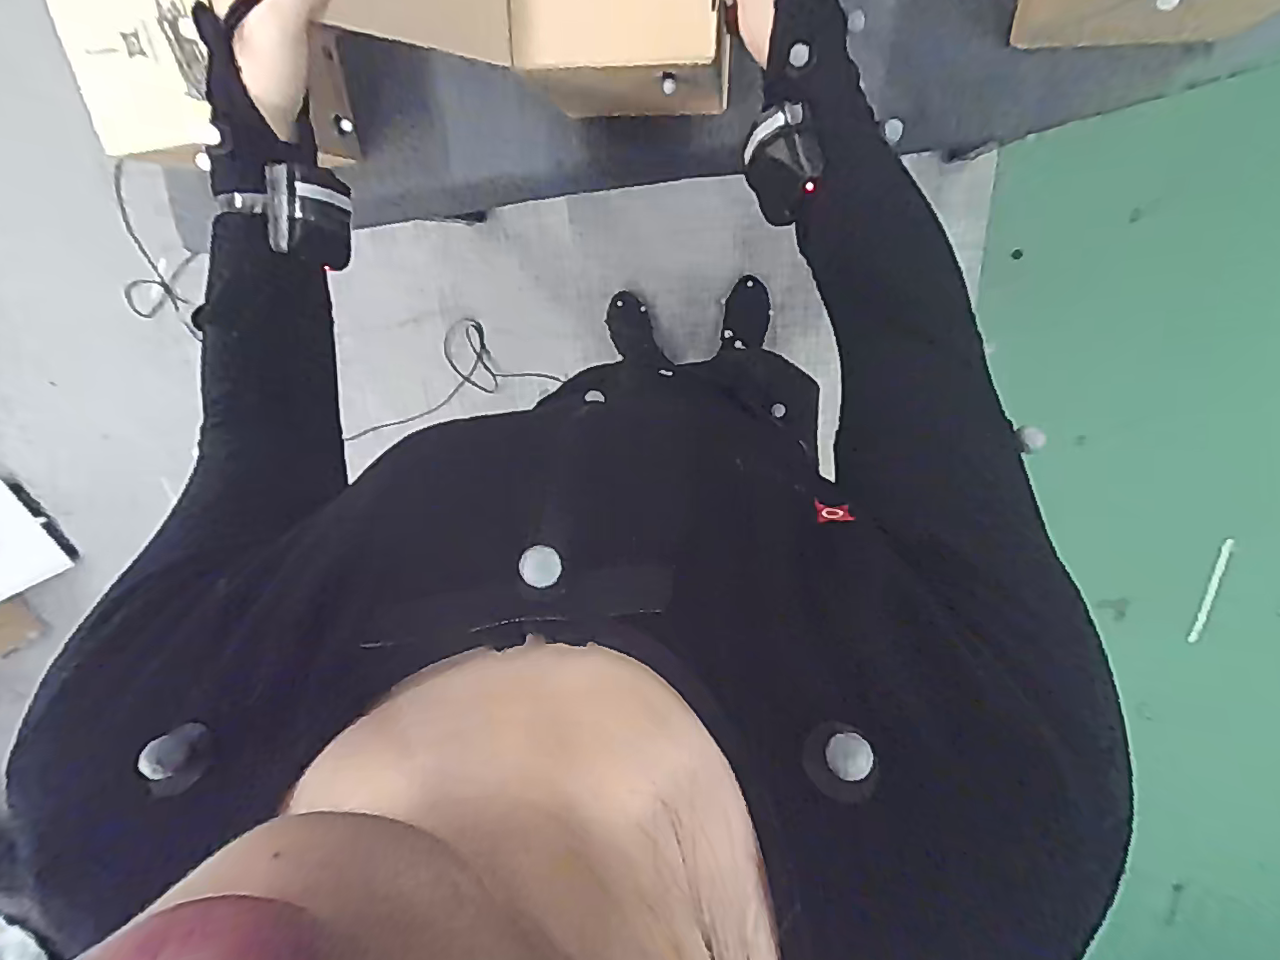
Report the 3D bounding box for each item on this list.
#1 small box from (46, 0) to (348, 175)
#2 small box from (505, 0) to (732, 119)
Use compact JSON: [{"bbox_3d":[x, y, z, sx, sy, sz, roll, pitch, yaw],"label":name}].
[{"bbox_3d":[-0.441,-0.429,0.568,0.179,0.176,0.168,0,113,11],"label":"small box"},{"bbox_3d":[-0.010,-0.439,0.485,0.179,0.176,0.168,5,113,9],"label":"small box"}]
